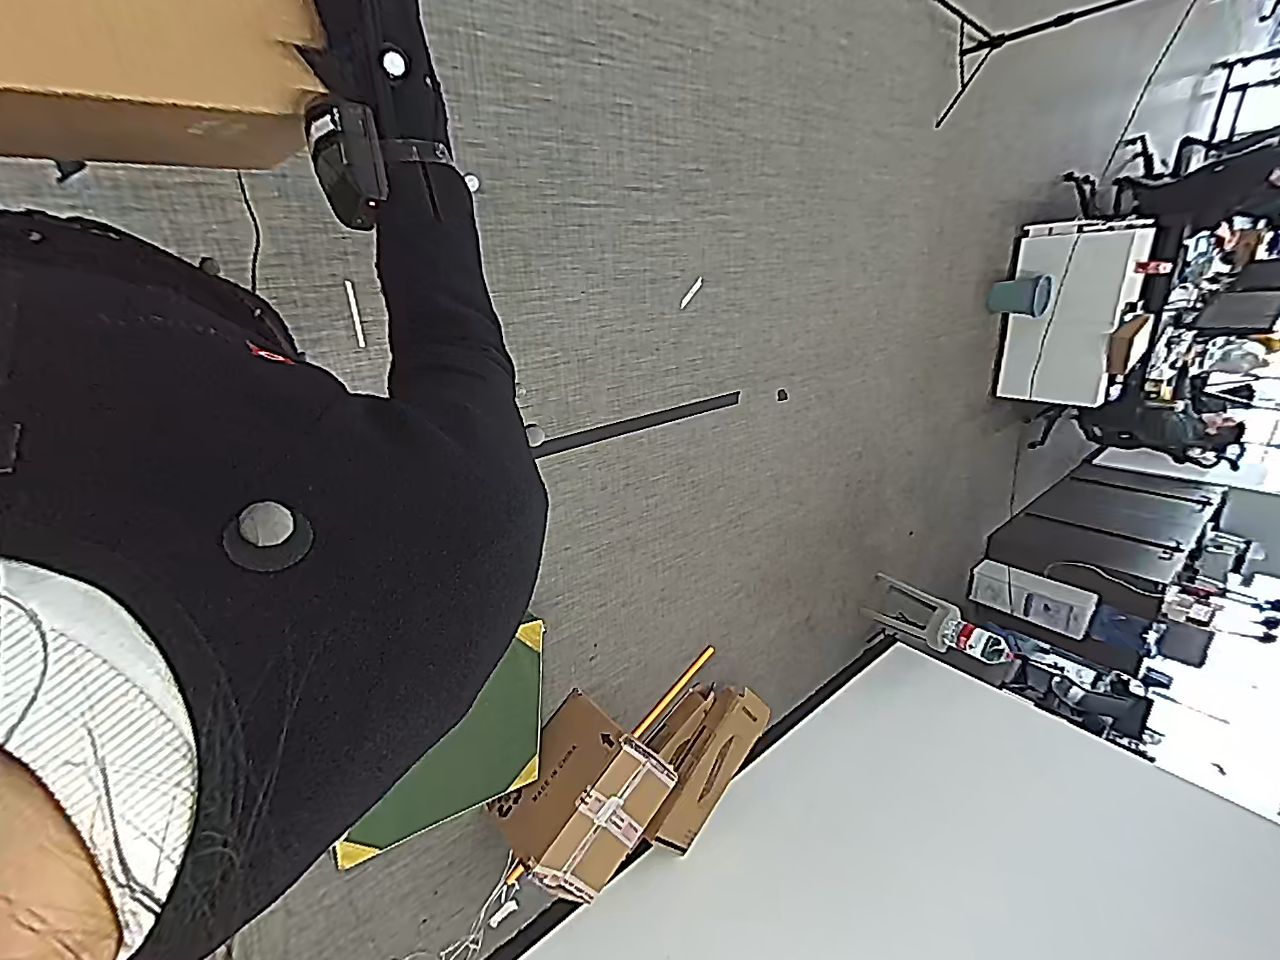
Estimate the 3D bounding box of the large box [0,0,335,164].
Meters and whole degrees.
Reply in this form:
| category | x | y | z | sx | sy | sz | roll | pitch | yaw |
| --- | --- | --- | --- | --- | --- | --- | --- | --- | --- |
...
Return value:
| category | x | y | z | sx | sy | sz | roll | pitch | yaw |
| --- | --- | --- | --- | --- | --- | --- | --- | --- | --- |
| large box | -0.464 | -0.378 | 0.306 | 0.408 | 0.320 | 0.320 | -21 | 121 | -36 |
